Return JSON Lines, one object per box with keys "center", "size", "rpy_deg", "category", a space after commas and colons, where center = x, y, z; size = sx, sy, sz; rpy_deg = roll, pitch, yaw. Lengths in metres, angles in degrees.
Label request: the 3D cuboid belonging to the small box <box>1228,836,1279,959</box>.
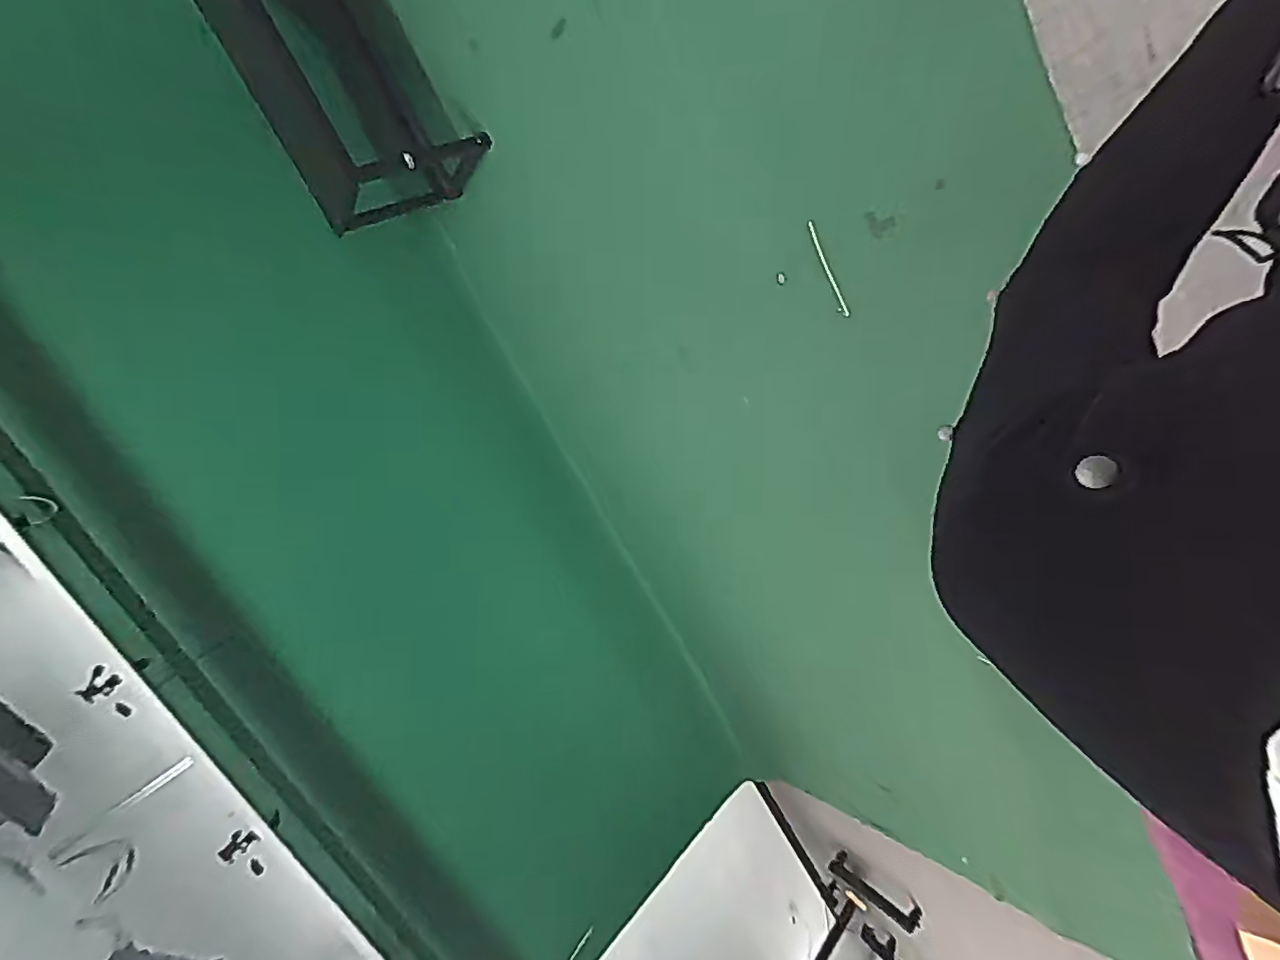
{"center": [1.065, 0.714, 0.843], "size": [0.168, 0.176, 0.179], "rpy_deg": [-7, 116, 57], "category": "small box"}
